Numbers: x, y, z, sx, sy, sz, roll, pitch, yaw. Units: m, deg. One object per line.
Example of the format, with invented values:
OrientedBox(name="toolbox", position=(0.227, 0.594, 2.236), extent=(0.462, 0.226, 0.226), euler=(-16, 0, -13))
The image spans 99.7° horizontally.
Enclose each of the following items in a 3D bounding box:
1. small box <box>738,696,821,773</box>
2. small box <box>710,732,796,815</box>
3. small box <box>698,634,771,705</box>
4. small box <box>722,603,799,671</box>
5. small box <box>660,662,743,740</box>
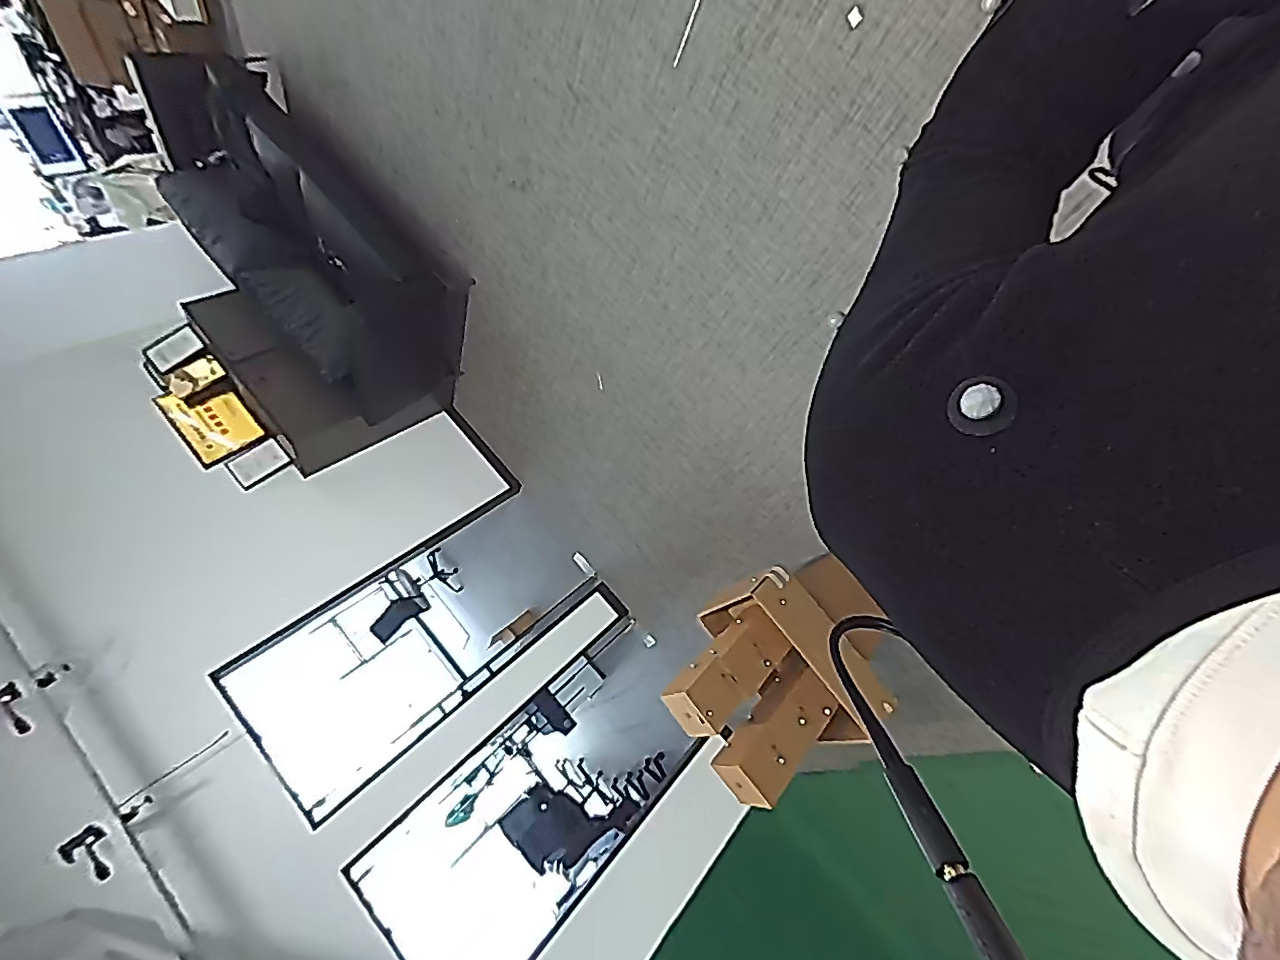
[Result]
OrientedBox(name="small box", position=(0.477, 0.861, 1.837), extent=(0.168, 0.176, 0.179), euler=(51, 145, 5))
OrientedBox(name="small box", position=(0.366, 0.937, 1.745), extent=(0.168, 0.176, 0.179), euler=(51, 146, 4))
OrientedBox(name="small box", position=(0.322, 0.646, 1.845), extent=(0.168, 0.176, 0.179), euler=(52, 146, 4))
OrientedBox(name="small box", position=(0.434, 0.568, 1.938), extent=(0.168, 0.176, 0.179), euler=(52, 145, 4))
OrientedBox(name="small box", position=(0.203, 0.717, 1.757), extent=(0.168, 0.176, 0.179), euler=(52, 145, 4))
